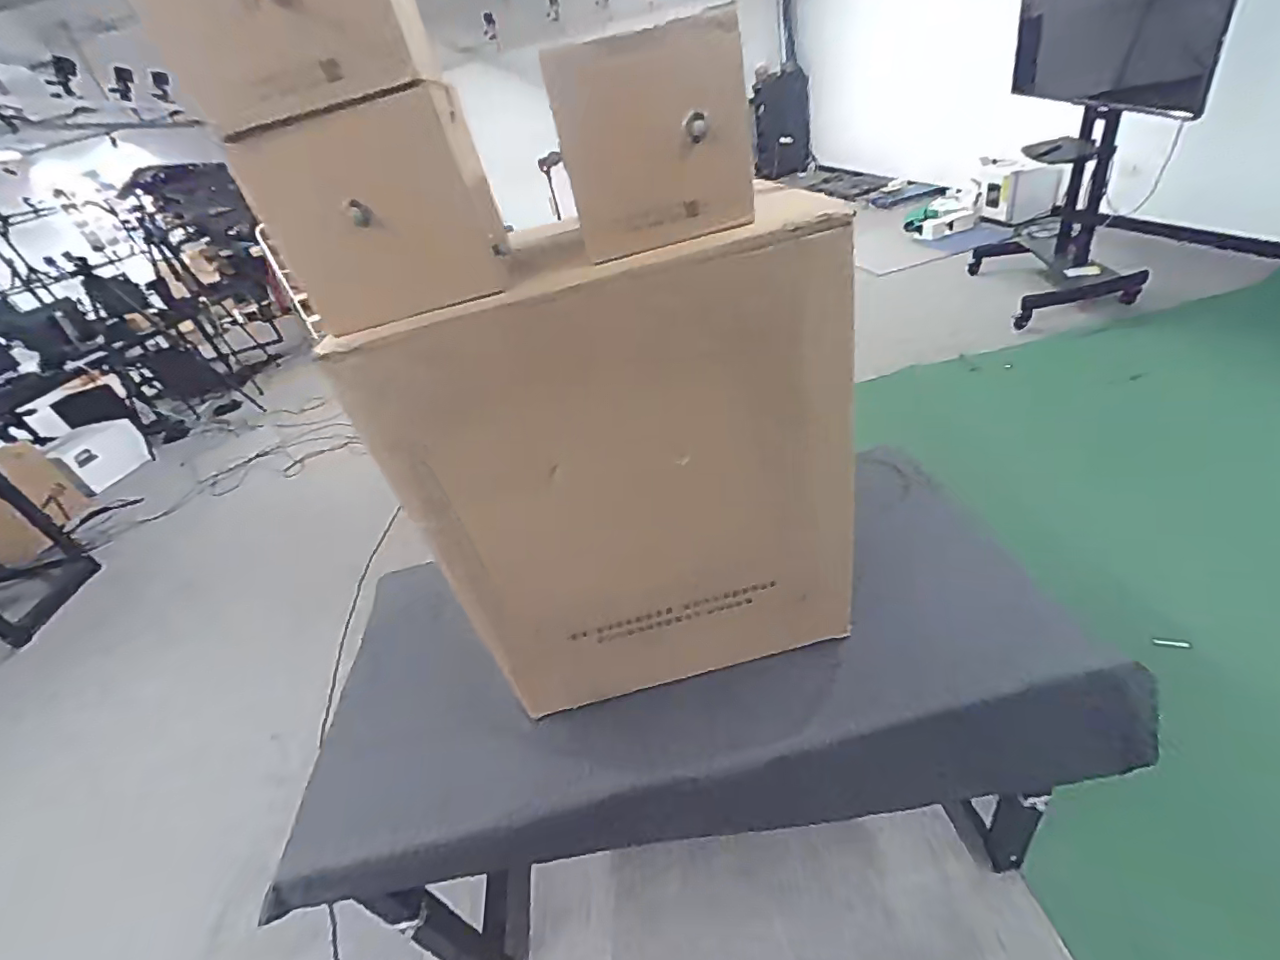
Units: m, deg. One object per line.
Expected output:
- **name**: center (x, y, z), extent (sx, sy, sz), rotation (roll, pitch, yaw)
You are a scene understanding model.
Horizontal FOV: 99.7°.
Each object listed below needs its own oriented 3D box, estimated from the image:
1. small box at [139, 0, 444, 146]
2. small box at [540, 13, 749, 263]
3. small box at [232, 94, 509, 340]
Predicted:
- **small box**: center (-0.277, -0.387, 0.440), extent (0.168, 0.176, 0.179), rotation (-17, 37, -1)
- **small box**: center (0.005, -0.332, 0.544), extent (0.168, 0.176, 0.179), rotation (-13, 35, 0)
- **small box**: center (-0.237, -0.261, 0.536), extent (0.179, 0.176, 0.168), rotation (-16, 37, -2)
